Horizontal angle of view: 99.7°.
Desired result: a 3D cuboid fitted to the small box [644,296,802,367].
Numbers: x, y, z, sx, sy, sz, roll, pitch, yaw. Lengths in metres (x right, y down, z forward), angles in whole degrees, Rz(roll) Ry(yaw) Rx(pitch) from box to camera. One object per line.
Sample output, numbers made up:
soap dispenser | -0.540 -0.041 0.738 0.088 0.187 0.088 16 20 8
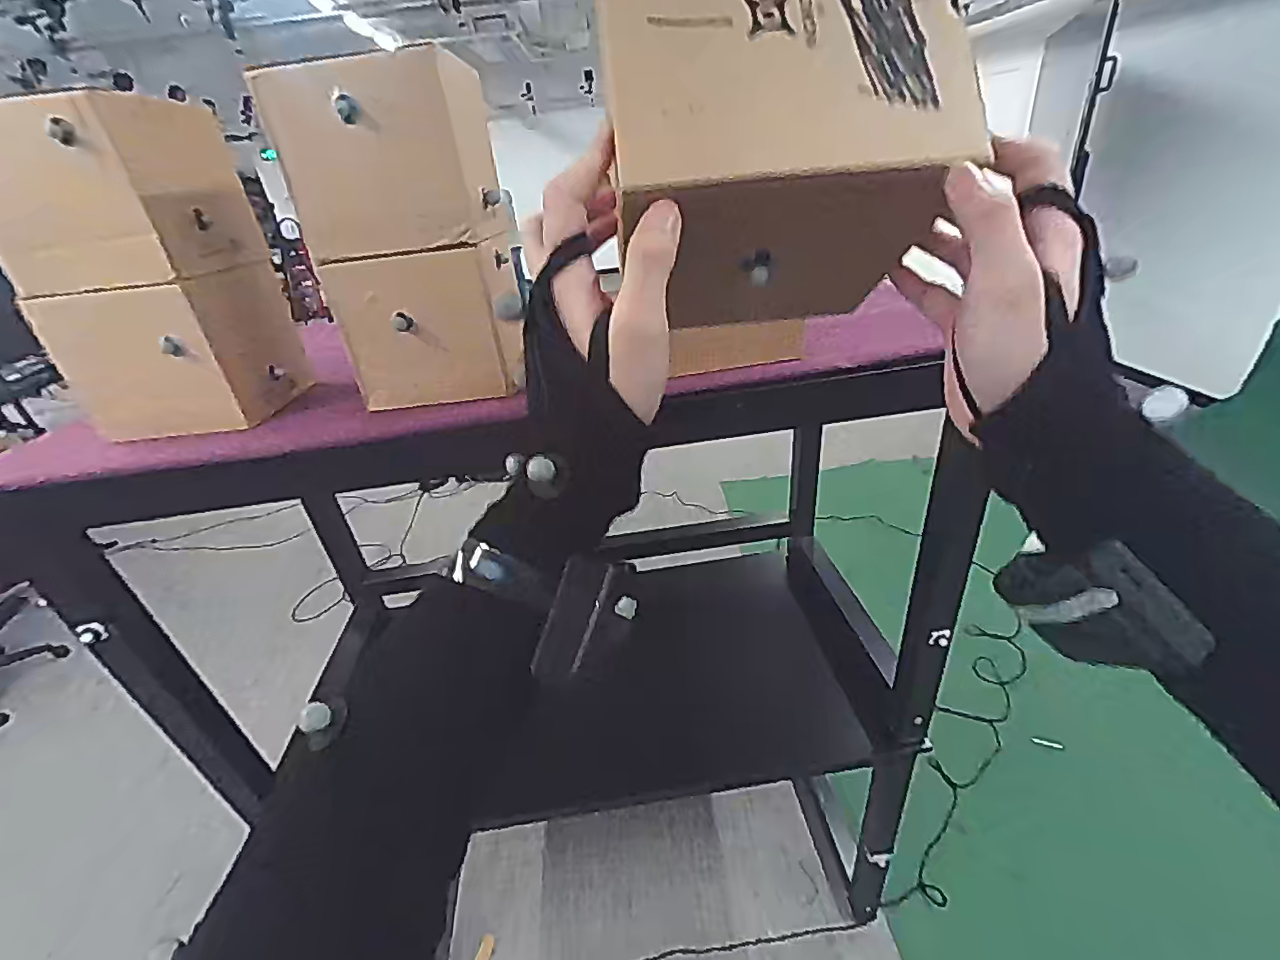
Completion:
small box | 0.089 -0.245 0.655 0.179 0.176 0.168 -9 31 -1

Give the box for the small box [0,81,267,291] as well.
small box | -0.564 -0.308 0.588 0.179 0.176 0.168 -5 30 2

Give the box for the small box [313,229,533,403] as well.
small box | -0.244 -0.202 0.660 0.179 0.176 0.168 -7 30 2

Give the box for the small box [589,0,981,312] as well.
small box | 0.064 -0.221 0.335 0.179 0.168 0.176 -6 -8 1

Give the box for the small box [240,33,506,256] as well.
small box | -0.261 -0.344 0.579 0.179 0.176 0.168 -5 30 3
